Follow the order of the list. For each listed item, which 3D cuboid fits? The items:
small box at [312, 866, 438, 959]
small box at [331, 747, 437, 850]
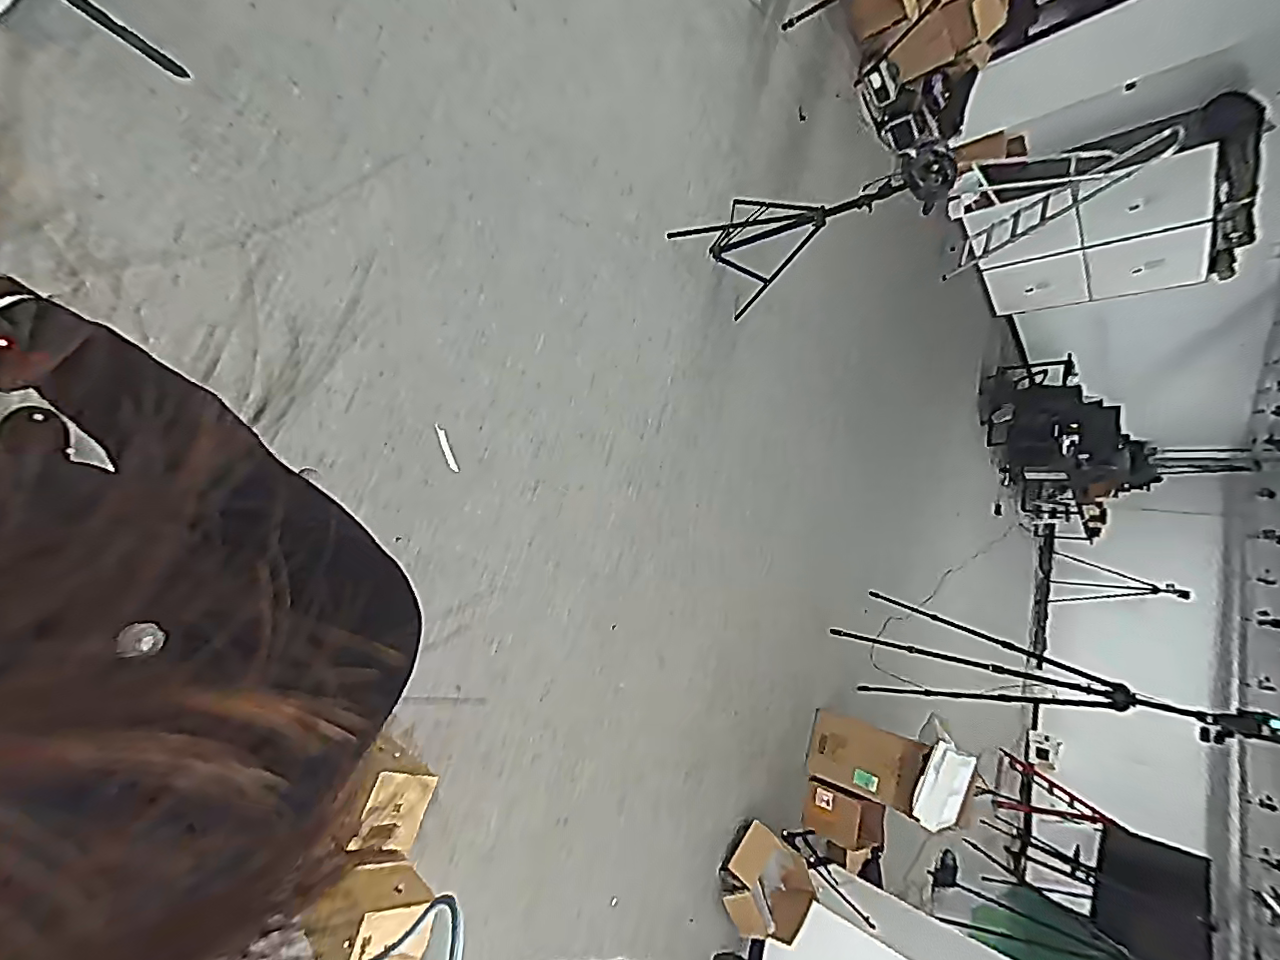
[{"bbox_3d":[-0.600,1.010,1.225,0.179,0.176,0.168,29,70,-43],"label":"small box"},{"bbox_3d":[-0.662,0.814,1.389,0.168,0.176,0.179,36,65,-40],"label":"small box"}]
